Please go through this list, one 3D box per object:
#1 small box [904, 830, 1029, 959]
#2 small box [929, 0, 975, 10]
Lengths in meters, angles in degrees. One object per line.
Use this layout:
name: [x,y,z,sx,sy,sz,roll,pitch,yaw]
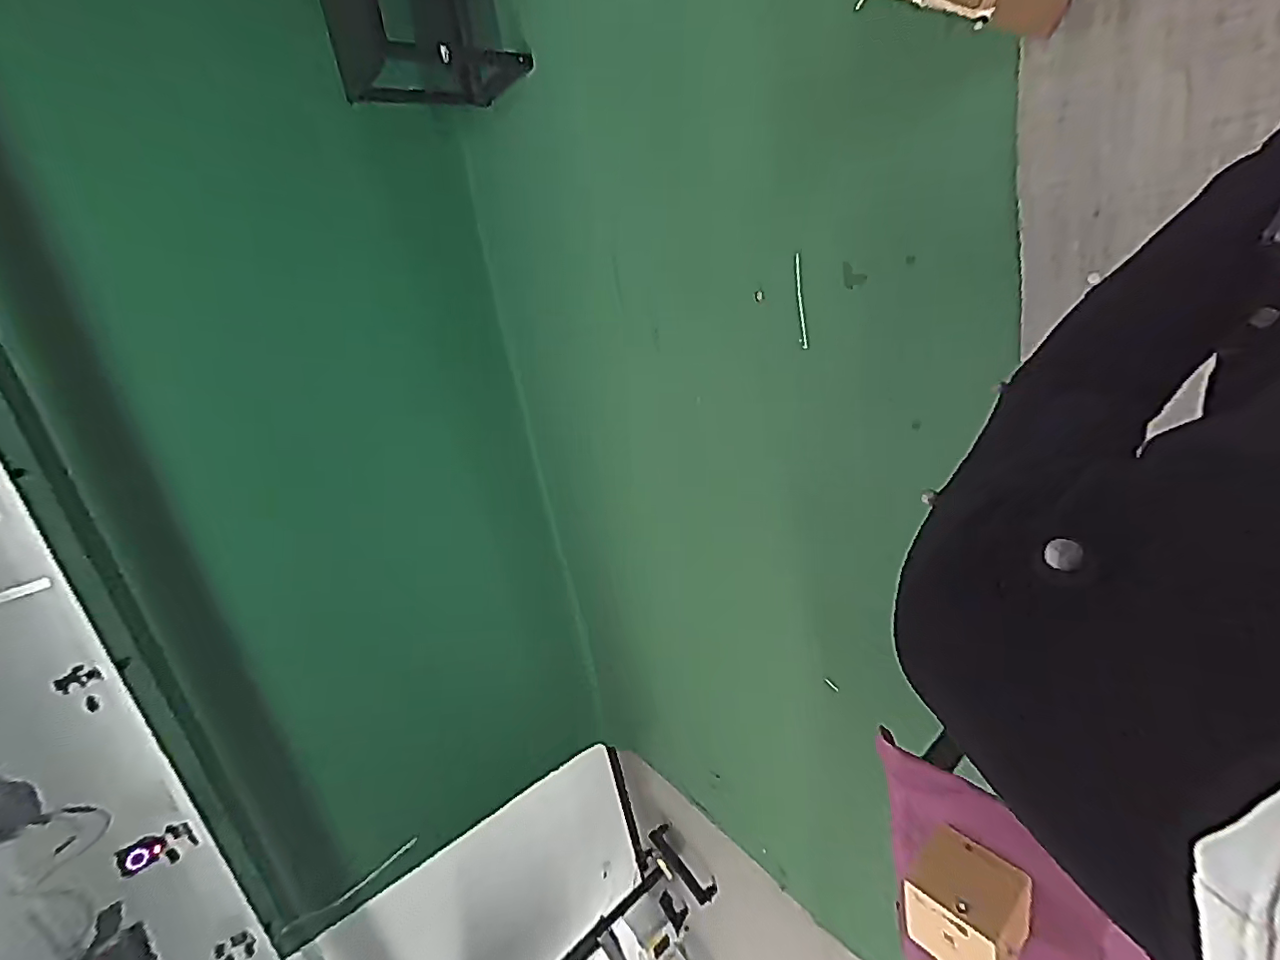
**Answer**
small box: [0.651,0.859,1.077,0.168,0.176,0.179,12,121,50]
small box: [0.533,-0.958,0.946,0.179,0.176,0.168,50,142,26]
